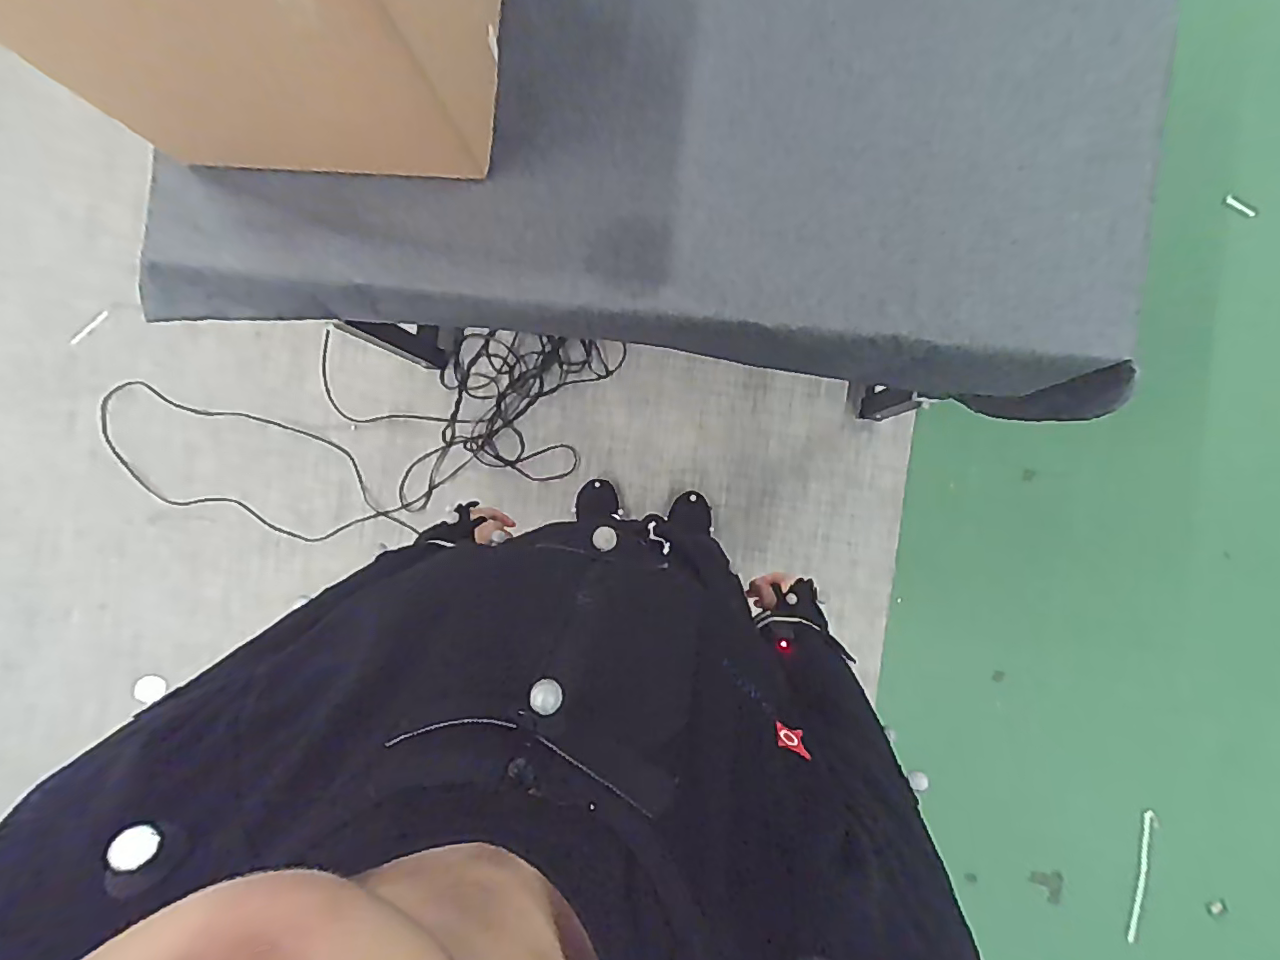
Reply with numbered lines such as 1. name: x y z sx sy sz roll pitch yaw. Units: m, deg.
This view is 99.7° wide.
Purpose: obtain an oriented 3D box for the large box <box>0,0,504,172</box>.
1. large box: -0.376 -0.539 0.528 0.408 0.320 0.320 4 90 2
